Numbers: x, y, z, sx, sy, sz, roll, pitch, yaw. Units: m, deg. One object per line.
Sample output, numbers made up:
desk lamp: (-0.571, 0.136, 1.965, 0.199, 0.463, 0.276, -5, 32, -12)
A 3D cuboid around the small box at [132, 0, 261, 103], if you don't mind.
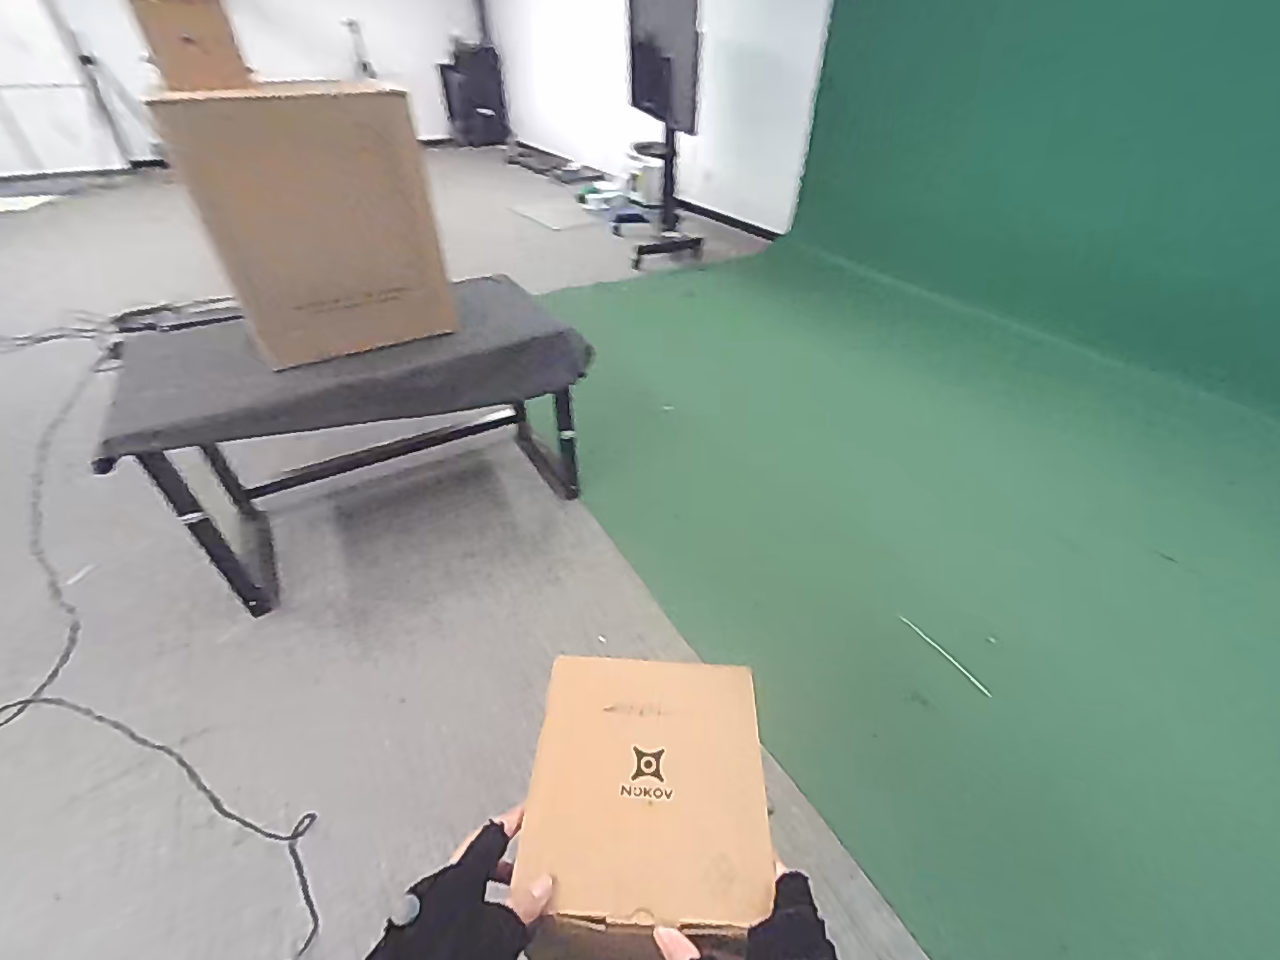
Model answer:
small box: (-0.980, -0.961, 1.208, 0.179, 0.176, 0.168, -25, 47, -25)
